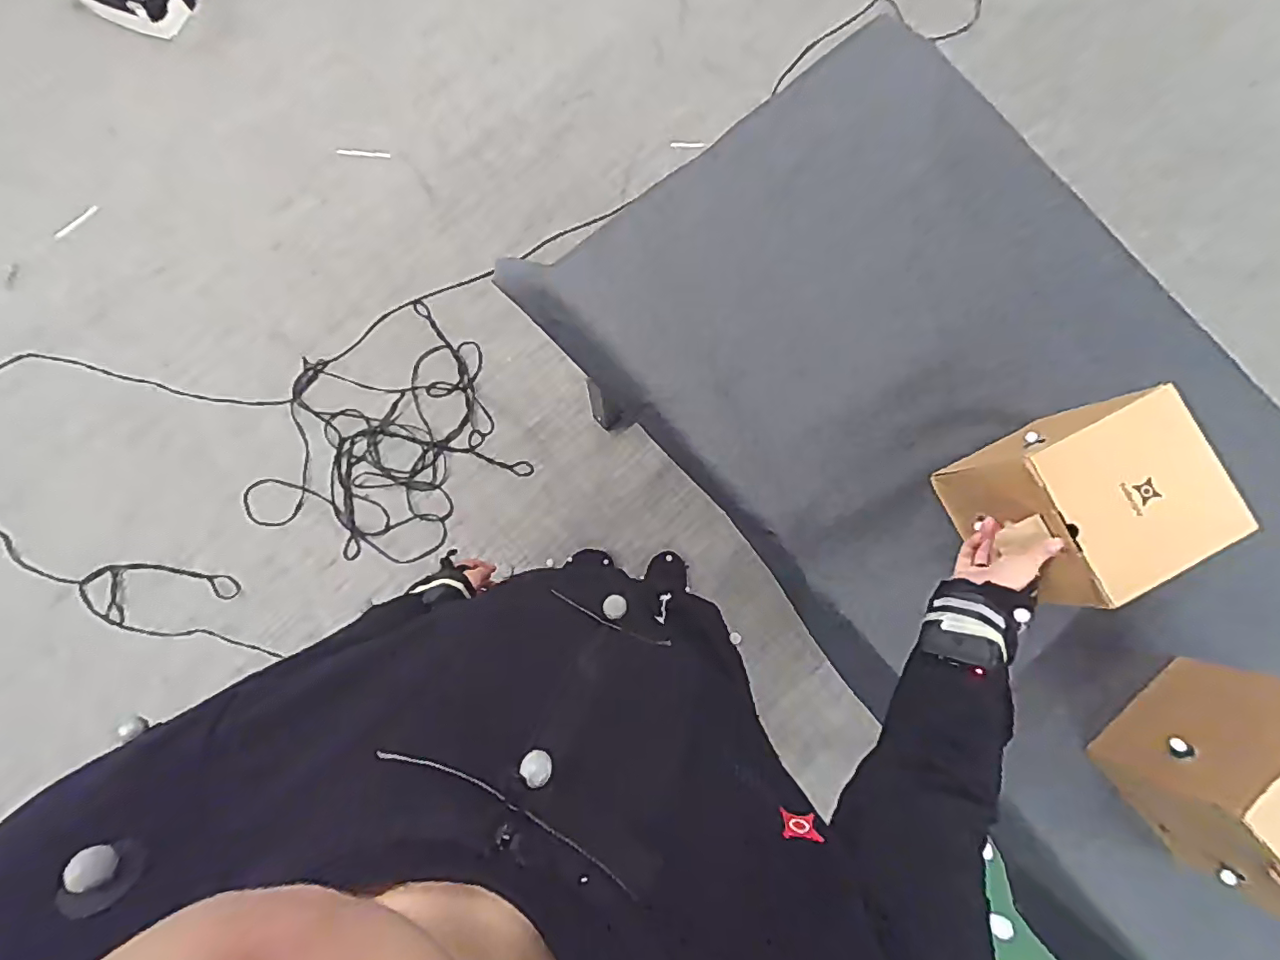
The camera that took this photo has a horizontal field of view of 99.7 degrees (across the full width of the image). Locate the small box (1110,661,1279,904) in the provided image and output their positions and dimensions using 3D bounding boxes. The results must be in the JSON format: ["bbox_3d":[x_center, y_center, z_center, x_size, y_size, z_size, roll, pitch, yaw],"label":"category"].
[{"bbox_3d":[0.659,0.321,0.568,0.179,0.176,0.168,-40,88,-8],"label":"small box"}]

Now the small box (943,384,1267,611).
[{"bbox_3d":[0.485,0.020,0.594,0.179,0.176,0.168,-27,86,-5],"label":"small box"}]
